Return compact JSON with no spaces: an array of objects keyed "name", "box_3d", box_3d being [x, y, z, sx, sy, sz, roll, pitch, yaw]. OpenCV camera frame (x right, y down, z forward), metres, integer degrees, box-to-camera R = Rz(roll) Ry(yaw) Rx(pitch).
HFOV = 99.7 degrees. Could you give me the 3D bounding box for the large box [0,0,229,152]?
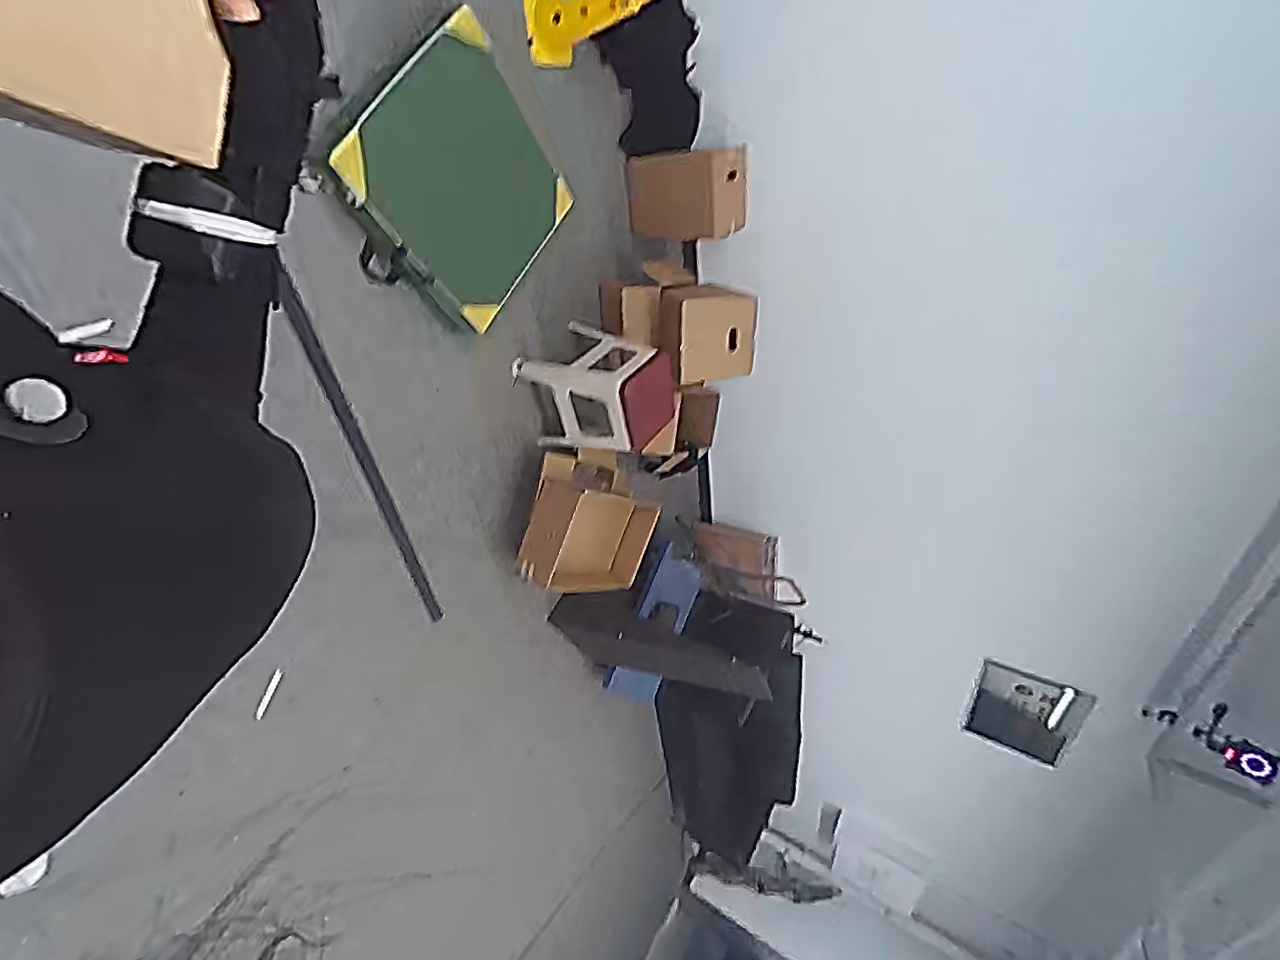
[{"name":"large box","box_3d":[-0.472,-0.404,0.242,0.408,0.320,0.320,-3,115,-55]}]
